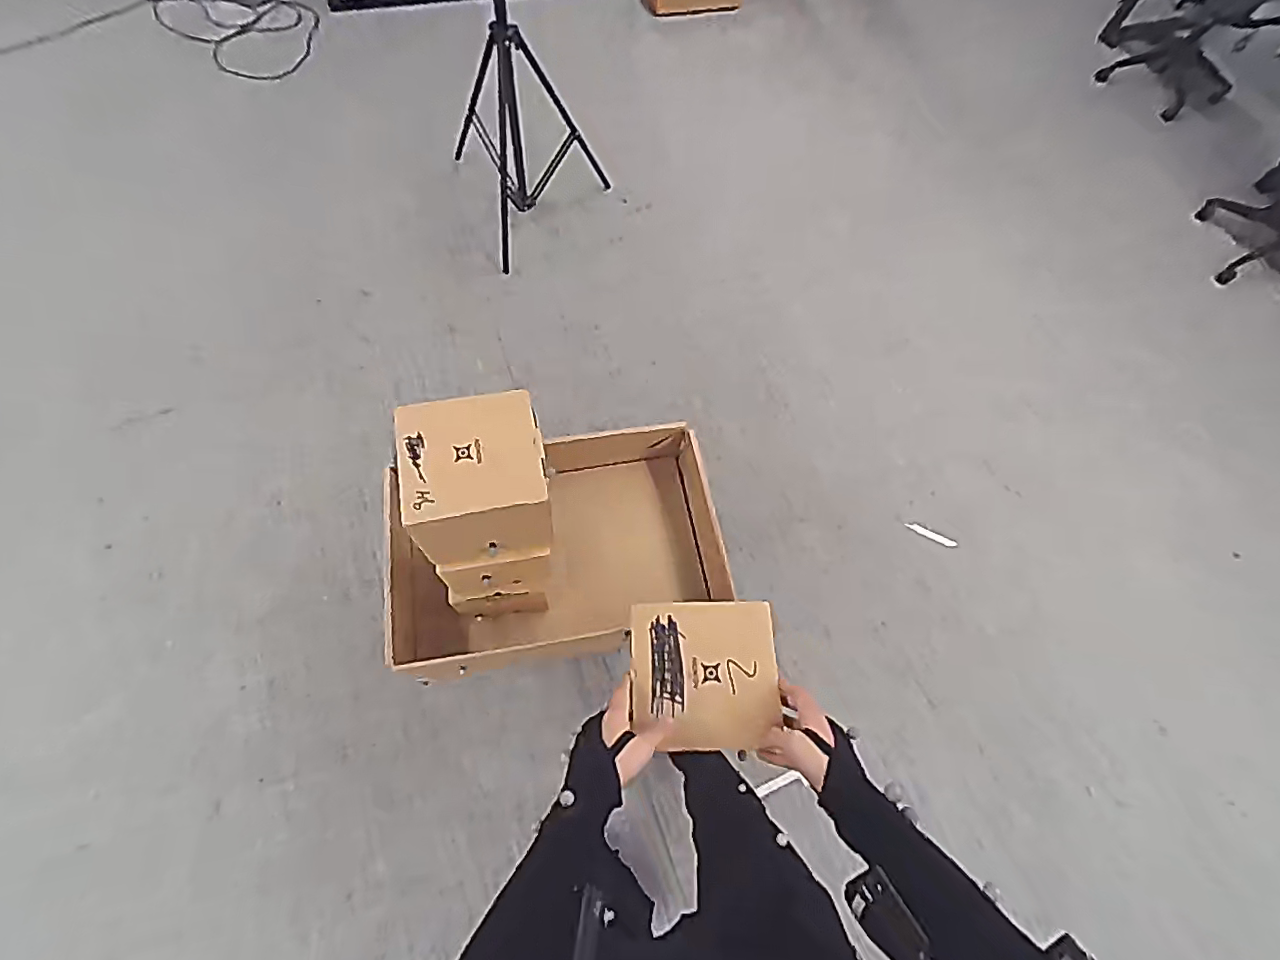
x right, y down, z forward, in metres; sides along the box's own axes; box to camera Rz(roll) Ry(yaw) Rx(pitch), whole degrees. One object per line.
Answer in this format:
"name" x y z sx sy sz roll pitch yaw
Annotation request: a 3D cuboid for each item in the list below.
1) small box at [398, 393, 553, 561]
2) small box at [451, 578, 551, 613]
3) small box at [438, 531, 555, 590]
"small box" -0.219 0.001 0.750 0.179 0.176 0.168 -9 67 -12
"small box" -0.261 0.153 1.036 0.168 0.176 0.179 -5 66 -9
"small box" -0.235 0.076 0.894 0.168 0.176 0.179 -8 67 -11
